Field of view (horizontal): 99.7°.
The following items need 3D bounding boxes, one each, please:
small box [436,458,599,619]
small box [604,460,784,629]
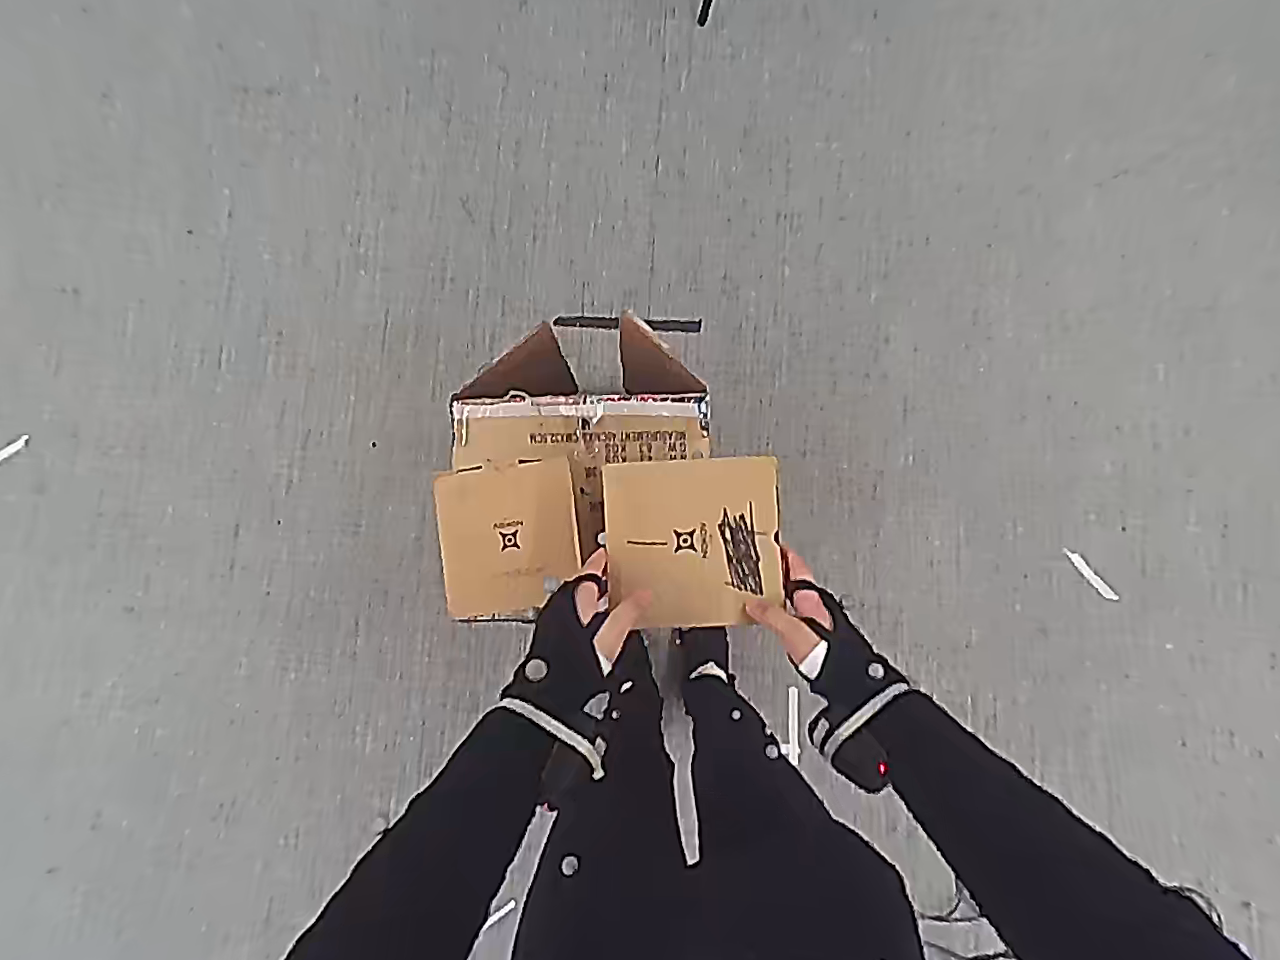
[{"bbox_3d":[-0.152,0.071,0.720,0.168,0.176,0.179,-8,89,1],"label":"small box"},{"bbox_3d":[0.053,0.070,0.620,0.179,0.176,0.168,-3,84,0],"label":"small box"}]
